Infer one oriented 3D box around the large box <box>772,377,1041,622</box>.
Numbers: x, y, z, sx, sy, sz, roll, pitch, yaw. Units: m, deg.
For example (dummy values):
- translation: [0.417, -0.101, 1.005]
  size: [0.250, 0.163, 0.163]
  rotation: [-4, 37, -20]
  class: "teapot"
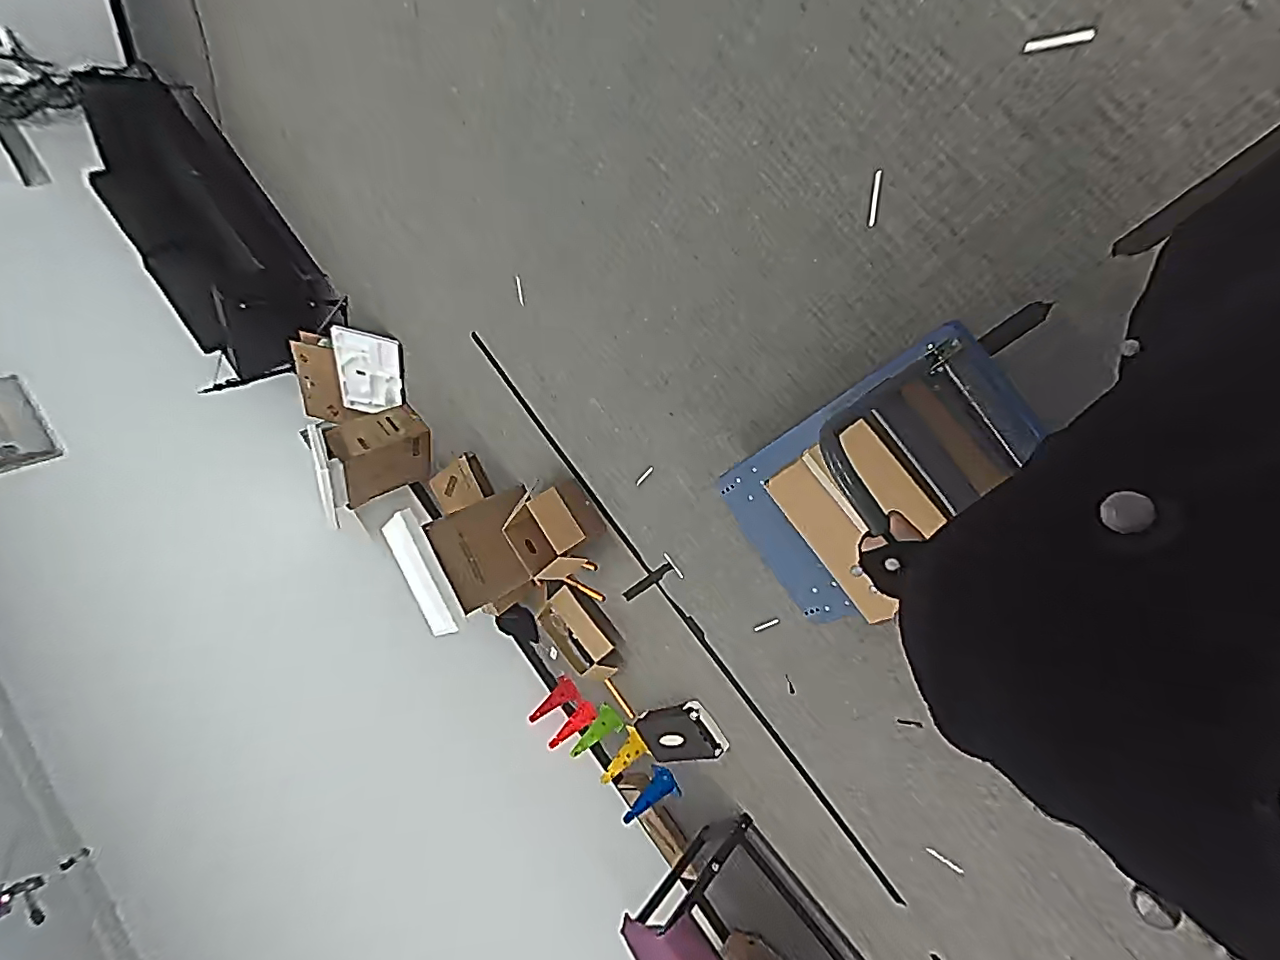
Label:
- translation: [0.598, 0.041, 1.232]
  size: [0.408, 0.320, 0.320]
  rotation: [54, 140, 9]
  class: "large box"
